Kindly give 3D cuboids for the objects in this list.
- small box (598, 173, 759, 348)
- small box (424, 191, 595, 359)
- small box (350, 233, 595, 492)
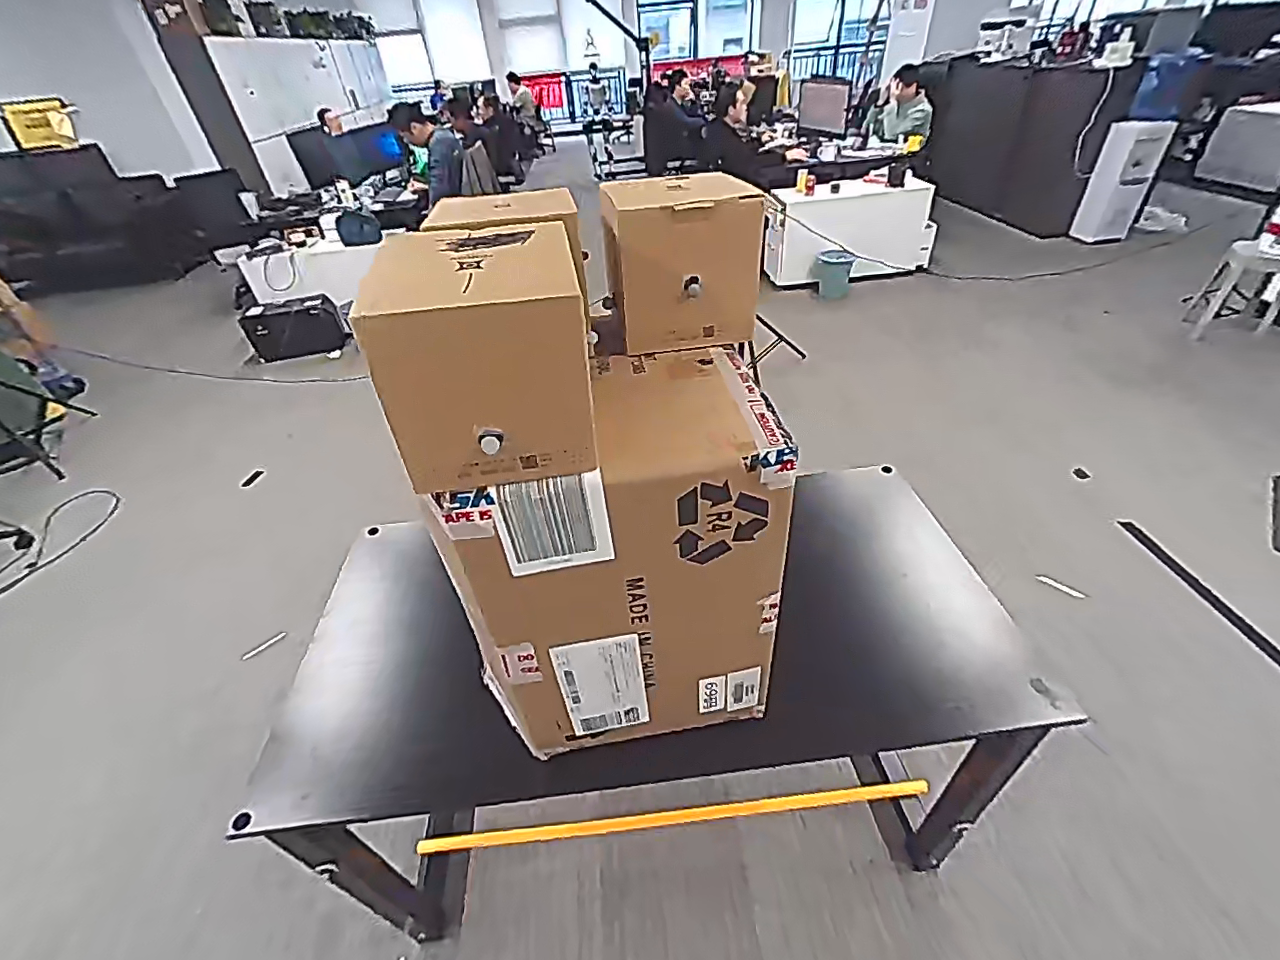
[{"bbox_3d":[0.042,-0.278,0.693,0.168,0.176,0.179,-8,39,-6],"label":"small box"},{"bbox_3d":[-0.155,-0.252,0.682,0.168,0.176,0.179,-10,38,-6],"label":"small box"},{"bbox_3d":[-0.136,-0.113,0.502,0.168,0.176,0.179,-8,41,-7],"label":"small box"}]
